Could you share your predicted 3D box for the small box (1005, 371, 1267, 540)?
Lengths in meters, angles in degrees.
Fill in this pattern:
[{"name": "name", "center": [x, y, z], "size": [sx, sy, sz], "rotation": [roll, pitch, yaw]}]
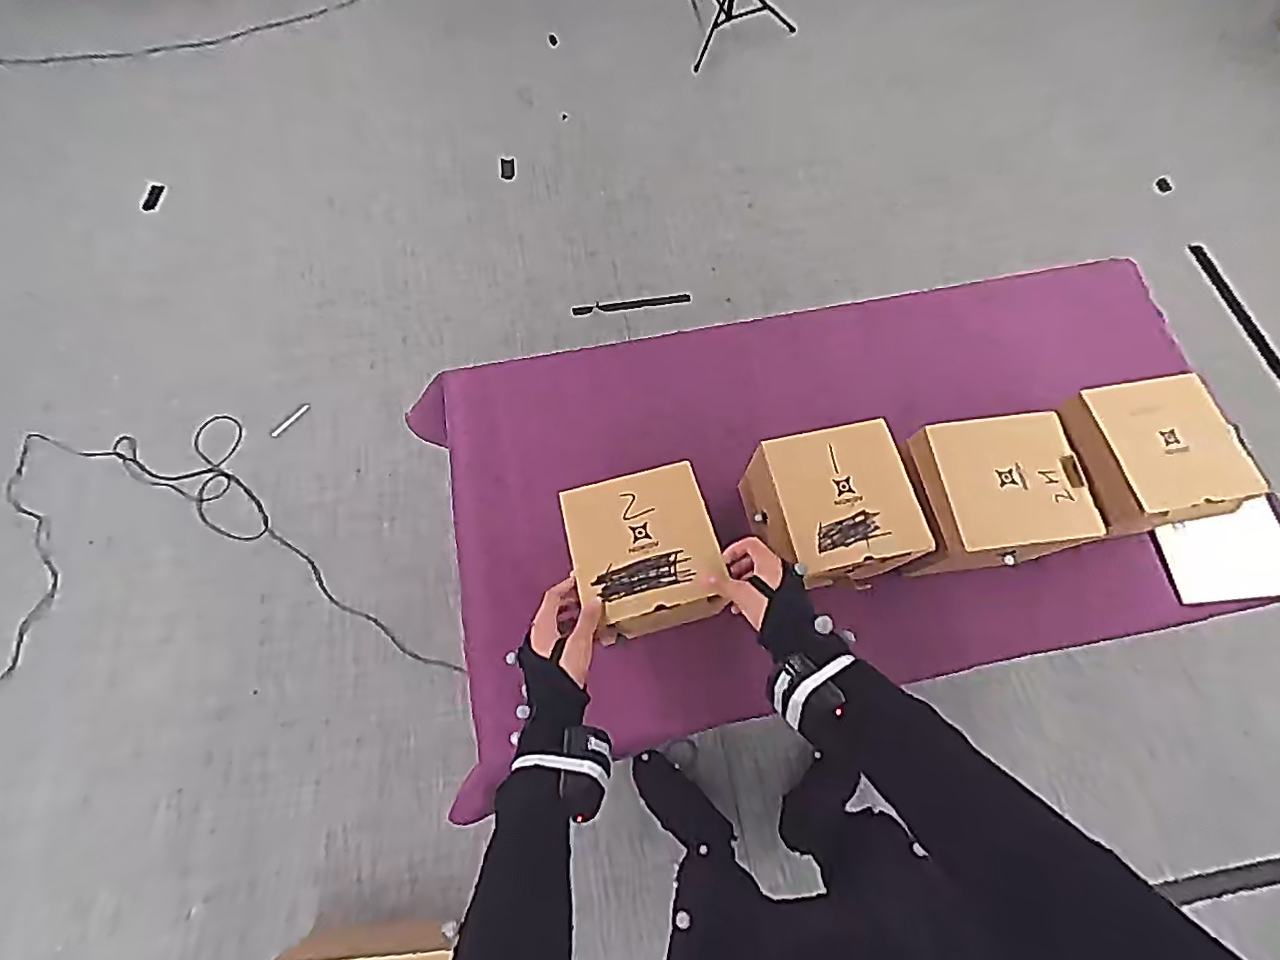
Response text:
[{"name": "small box", "center": [0.659, -0.023, 0.747], "size": [0.168, 0.176, 0.179], "rotation": [-9, 69, -4]}]
